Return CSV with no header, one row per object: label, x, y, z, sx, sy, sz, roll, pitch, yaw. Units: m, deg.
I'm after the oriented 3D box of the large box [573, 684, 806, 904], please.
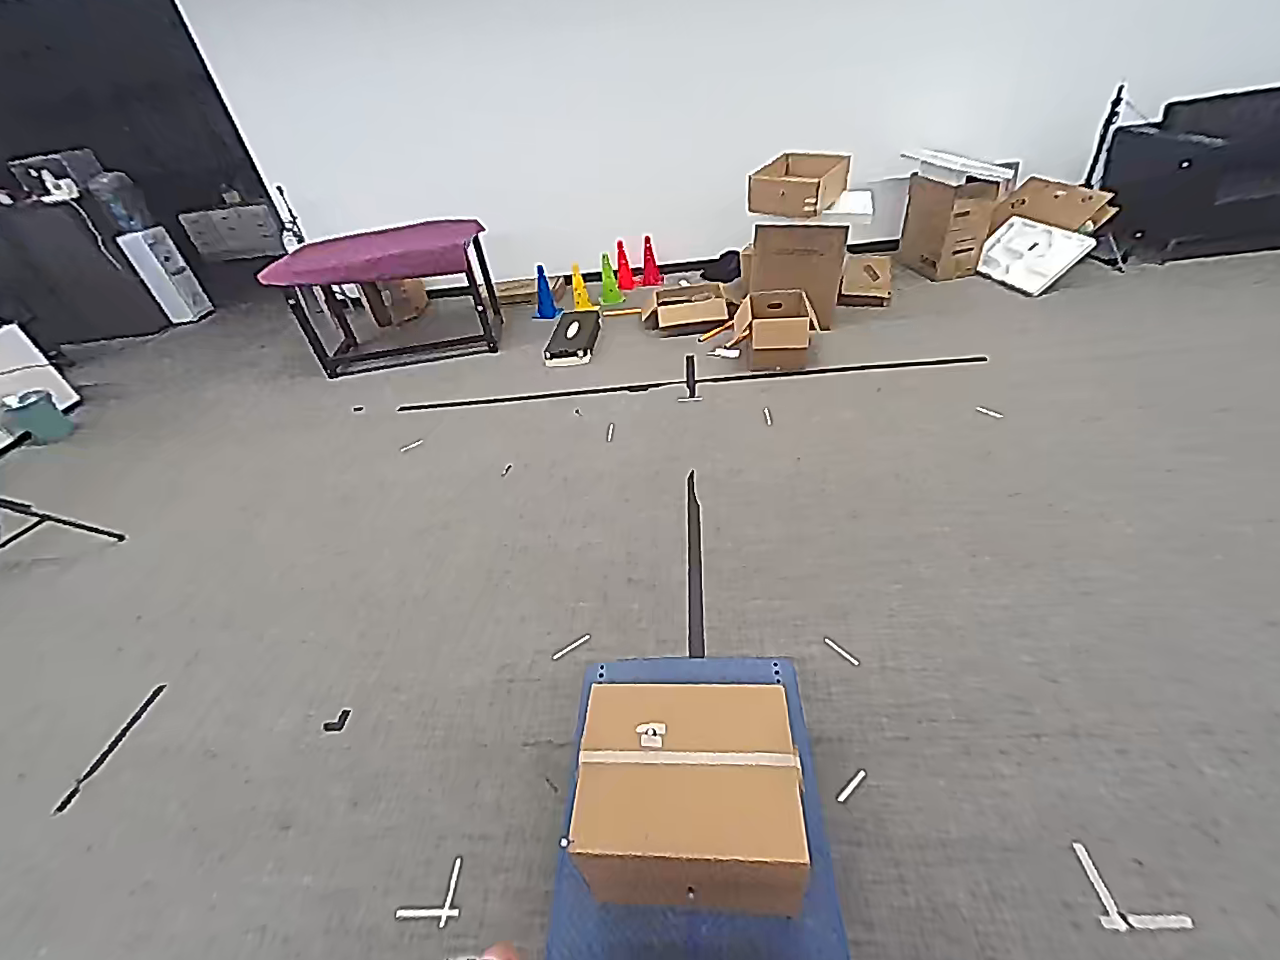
large box,0.107,0.651,1.123,0.408,0.320,0.320,-4,38,8
